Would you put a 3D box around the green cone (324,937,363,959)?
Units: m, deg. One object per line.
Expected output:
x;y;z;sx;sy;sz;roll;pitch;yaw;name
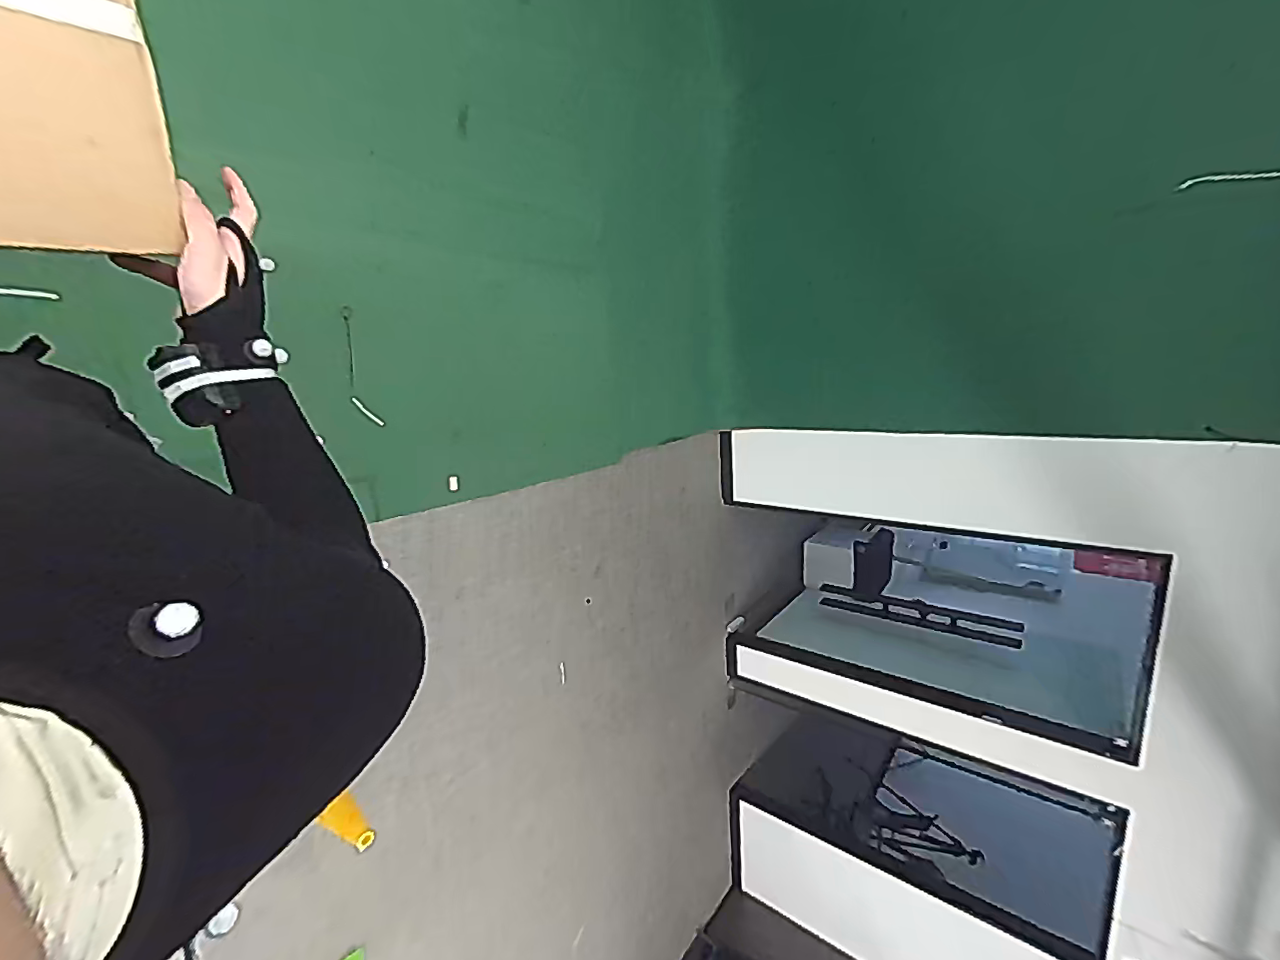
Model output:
-0.856;1.628;1.629;0.200;0.368;0.202;-9;101;-51;green cone
